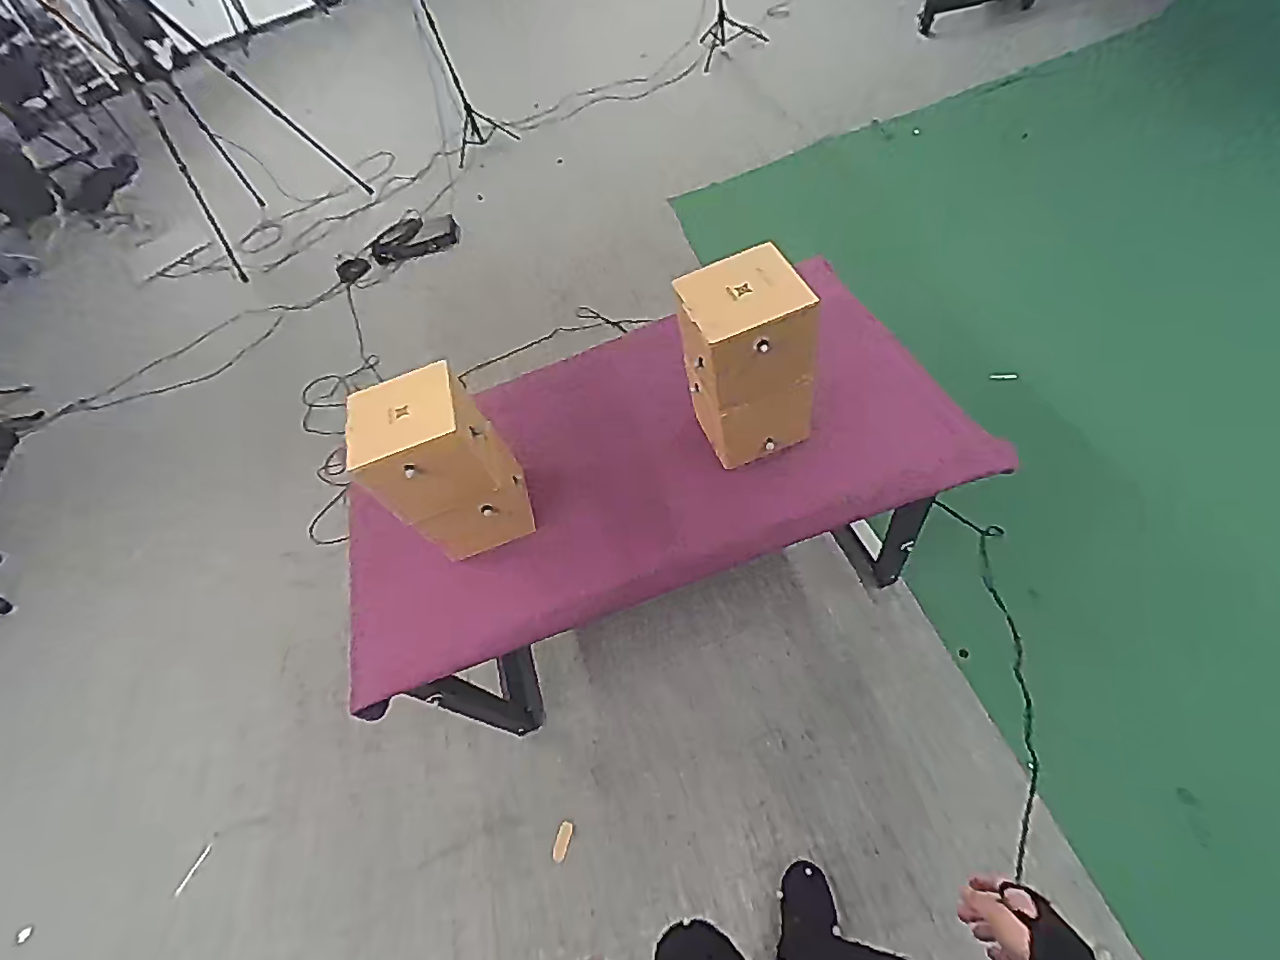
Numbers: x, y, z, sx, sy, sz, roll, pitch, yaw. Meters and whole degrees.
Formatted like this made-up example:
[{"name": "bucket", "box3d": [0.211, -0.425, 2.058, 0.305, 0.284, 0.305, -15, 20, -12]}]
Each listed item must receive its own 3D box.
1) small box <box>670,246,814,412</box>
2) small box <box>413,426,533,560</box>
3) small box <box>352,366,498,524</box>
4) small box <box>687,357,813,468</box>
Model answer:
[{"name": "small box", "box3d": [0.169, -0.240, 0.888, 0.179, 0.176, 0.168, -22, 56, 1]}, {"name": "small box", "box3d": [-0.319, 0.030, 1.045, 0.179, 0.176, 0.168, -21, 55, 1]}, {"name": "small box", "box3d": [-0.353, -0.053, 0.911, 0.179, 0.176, 0.168, -22, 56, 1]}, {"name": "small box", "box3d": [0.205, -0.152, 1.021, 0.179, 0.176, 0.168, -23, 55, 0]}]
